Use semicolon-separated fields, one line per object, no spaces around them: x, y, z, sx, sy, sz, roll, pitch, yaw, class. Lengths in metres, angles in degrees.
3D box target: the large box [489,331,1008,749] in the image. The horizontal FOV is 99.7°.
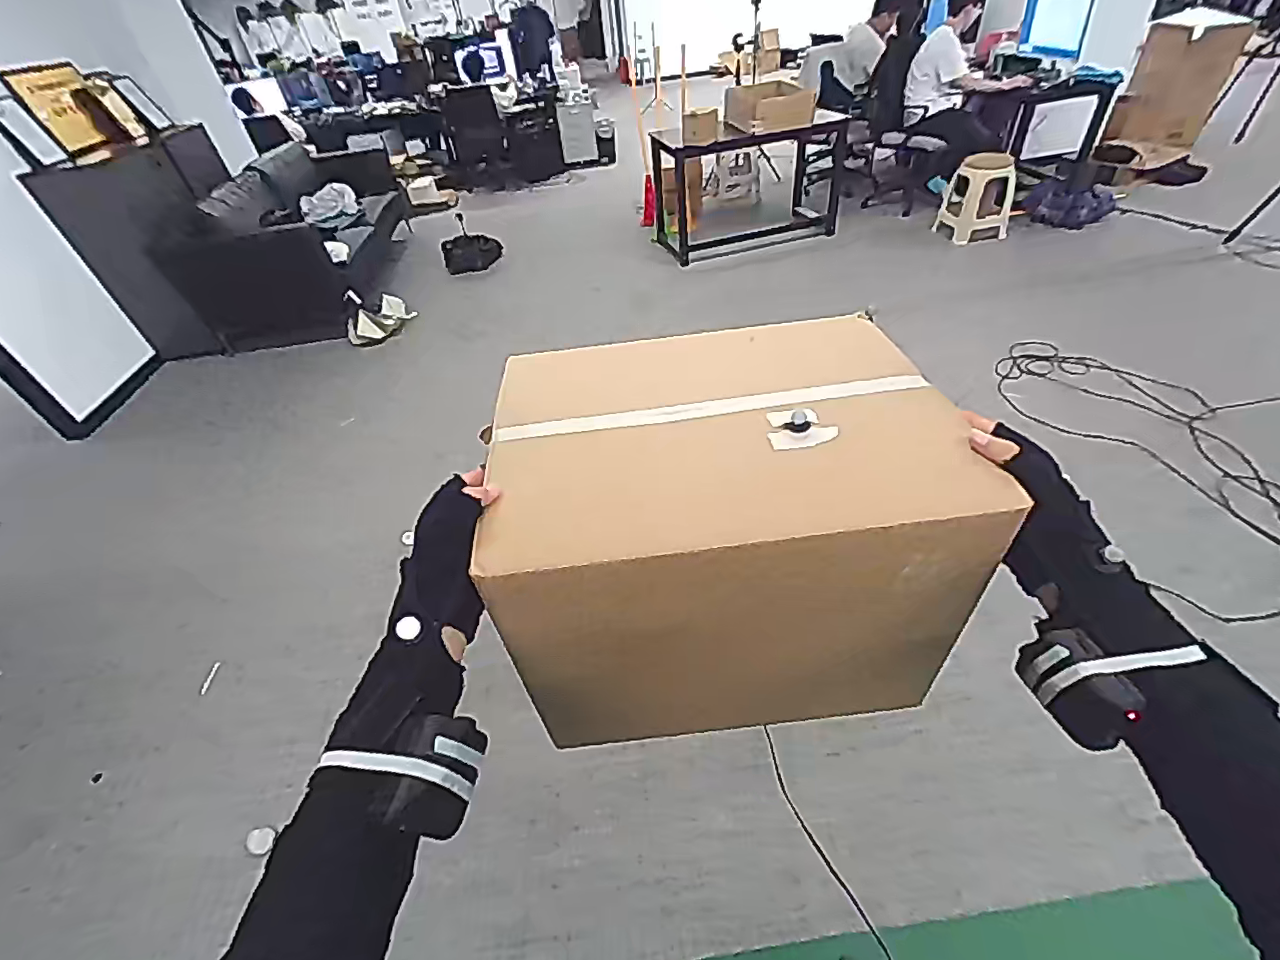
0.078;0.062;0.608;0.408;0.320;0.320;-7;42;-1;large box
